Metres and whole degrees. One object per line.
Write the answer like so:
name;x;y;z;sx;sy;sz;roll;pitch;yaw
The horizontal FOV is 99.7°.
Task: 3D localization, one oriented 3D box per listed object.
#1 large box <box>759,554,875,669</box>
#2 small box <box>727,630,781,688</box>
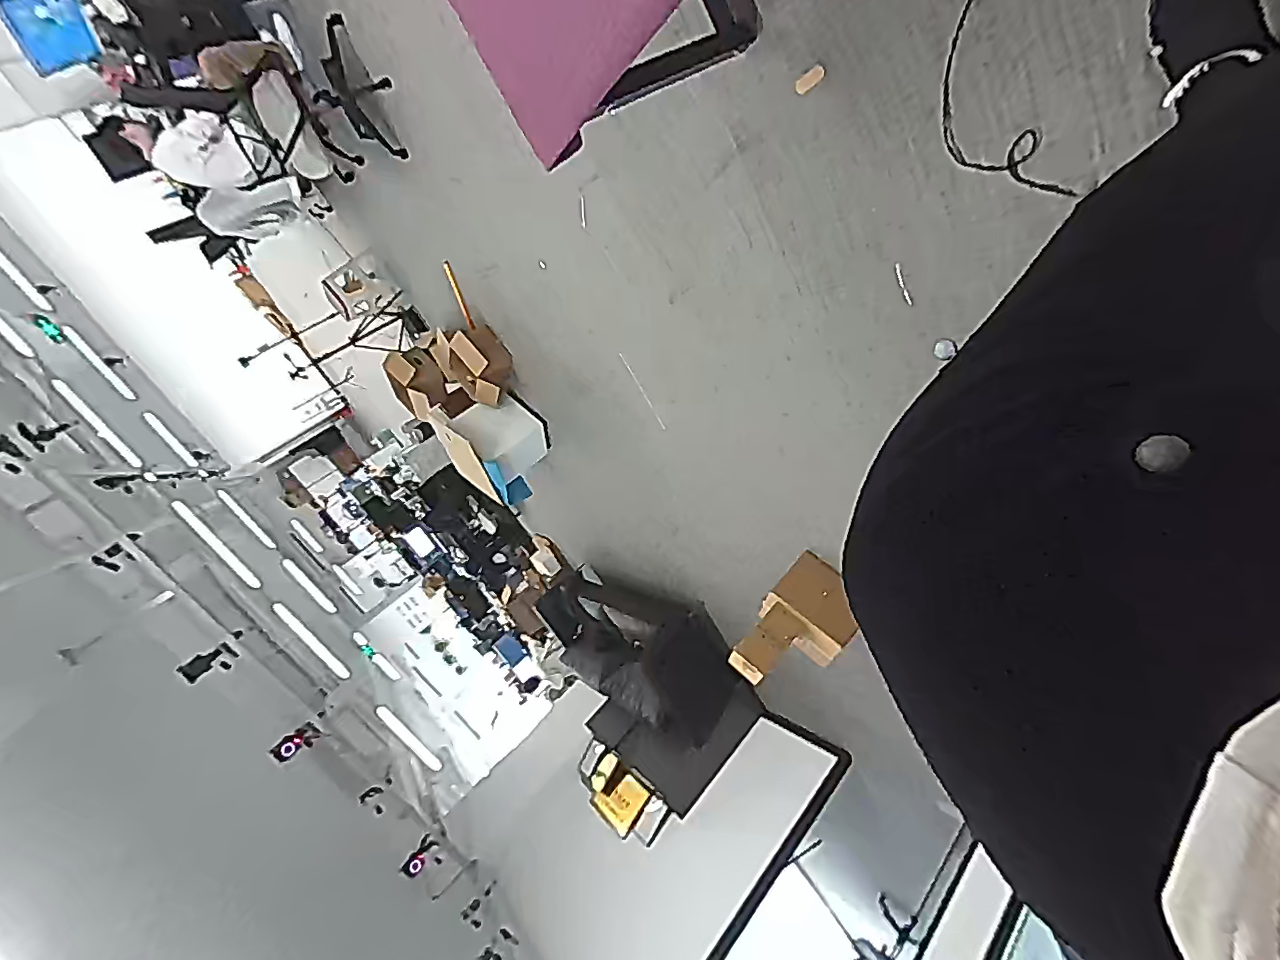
large box;0.863;0.644;2.673;0.408;0.320;0.320;37;153;23
small box;0.527;0.822;2.499;0.168;0.176;0.179;39;154;22
